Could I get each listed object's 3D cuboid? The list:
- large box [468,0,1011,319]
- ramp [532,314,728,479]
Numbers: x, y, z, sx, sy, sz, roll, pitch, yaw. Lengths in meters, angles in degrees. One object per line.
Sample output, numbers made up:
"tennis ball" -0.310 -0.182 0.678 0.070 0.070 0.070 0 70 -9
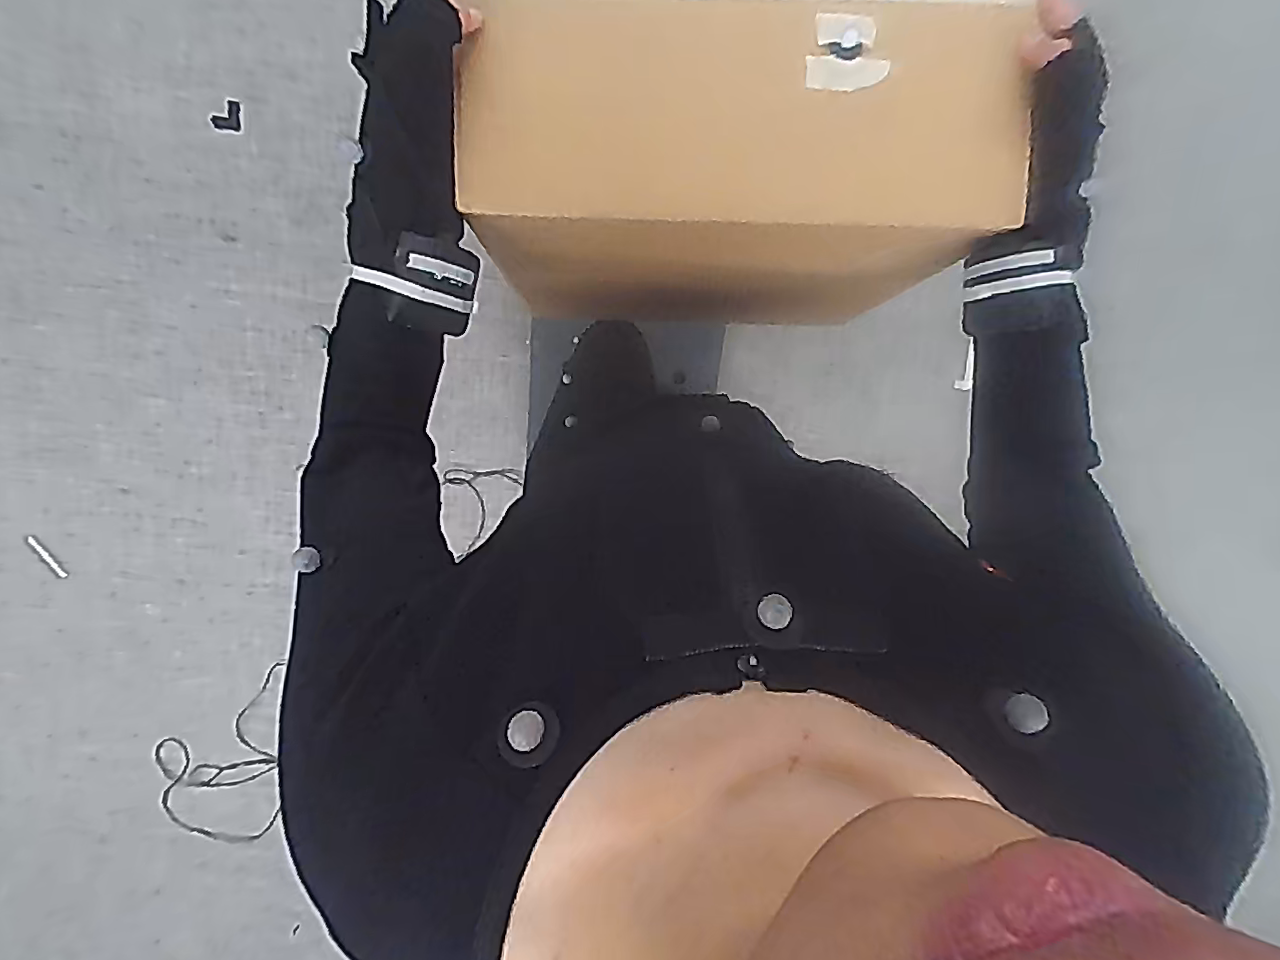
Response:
"large box" 0.067 -0.354 0.540 0.408 0.320 0.320 0 93 -3
"ramp" -0.011 -0.489 1.349 0.509 0.206 0.991 3 99 -3
